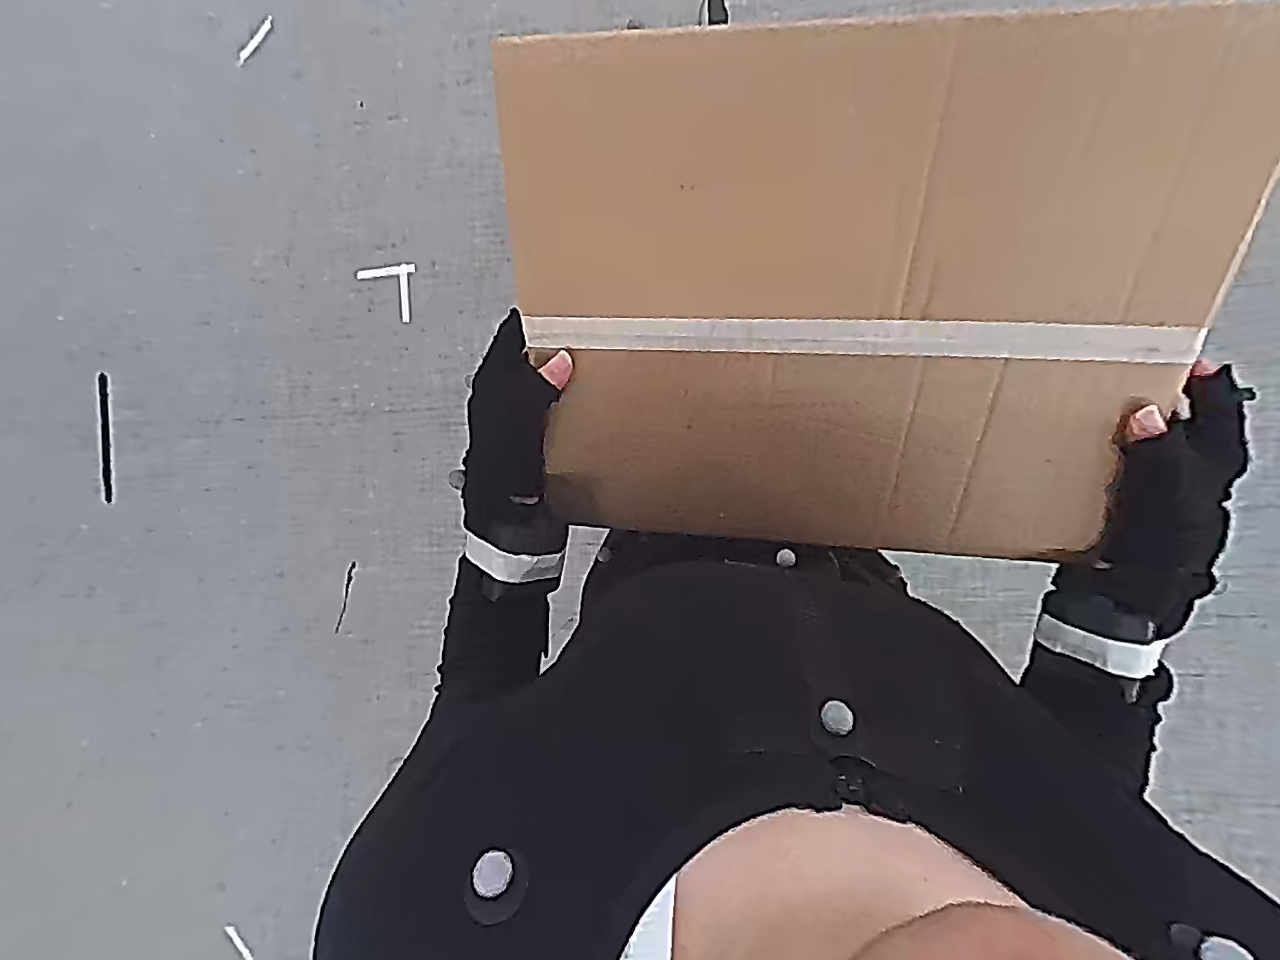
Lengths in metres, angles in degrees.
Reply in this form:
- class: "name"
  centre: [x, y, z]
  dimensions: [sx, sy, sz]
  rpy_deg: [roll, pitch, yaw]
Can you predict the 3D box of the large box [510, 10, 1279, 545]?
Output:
- class: "large box"
  centre: [0.143, -0.166, 0.481]
  dimensions: [0.408, 0.320, 0.320]
  rpy_deg: [4, 120, 8]
